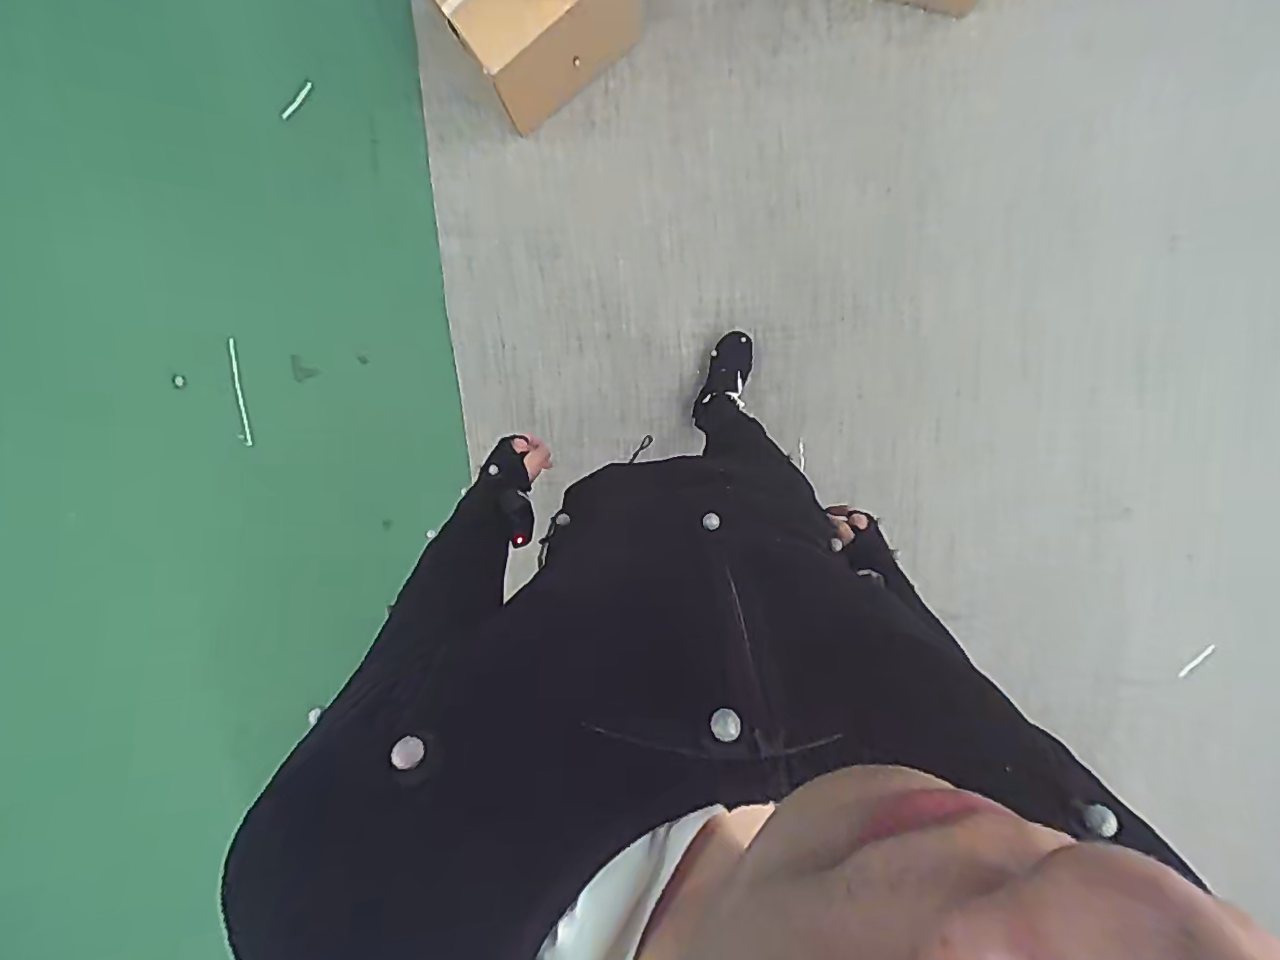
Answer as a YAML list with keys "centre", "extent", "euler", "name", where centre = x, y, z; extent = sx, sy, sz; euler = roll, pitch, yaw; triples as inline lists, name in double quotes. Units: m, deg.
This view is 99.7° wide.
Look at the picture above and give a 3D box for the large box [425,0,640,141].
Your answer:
- centre: [-0.249, -1.127, 1.282]
  extent: [0.408, 0.320, 0.320]
  euler: [-37, 96, 8]
  name: "large box"
